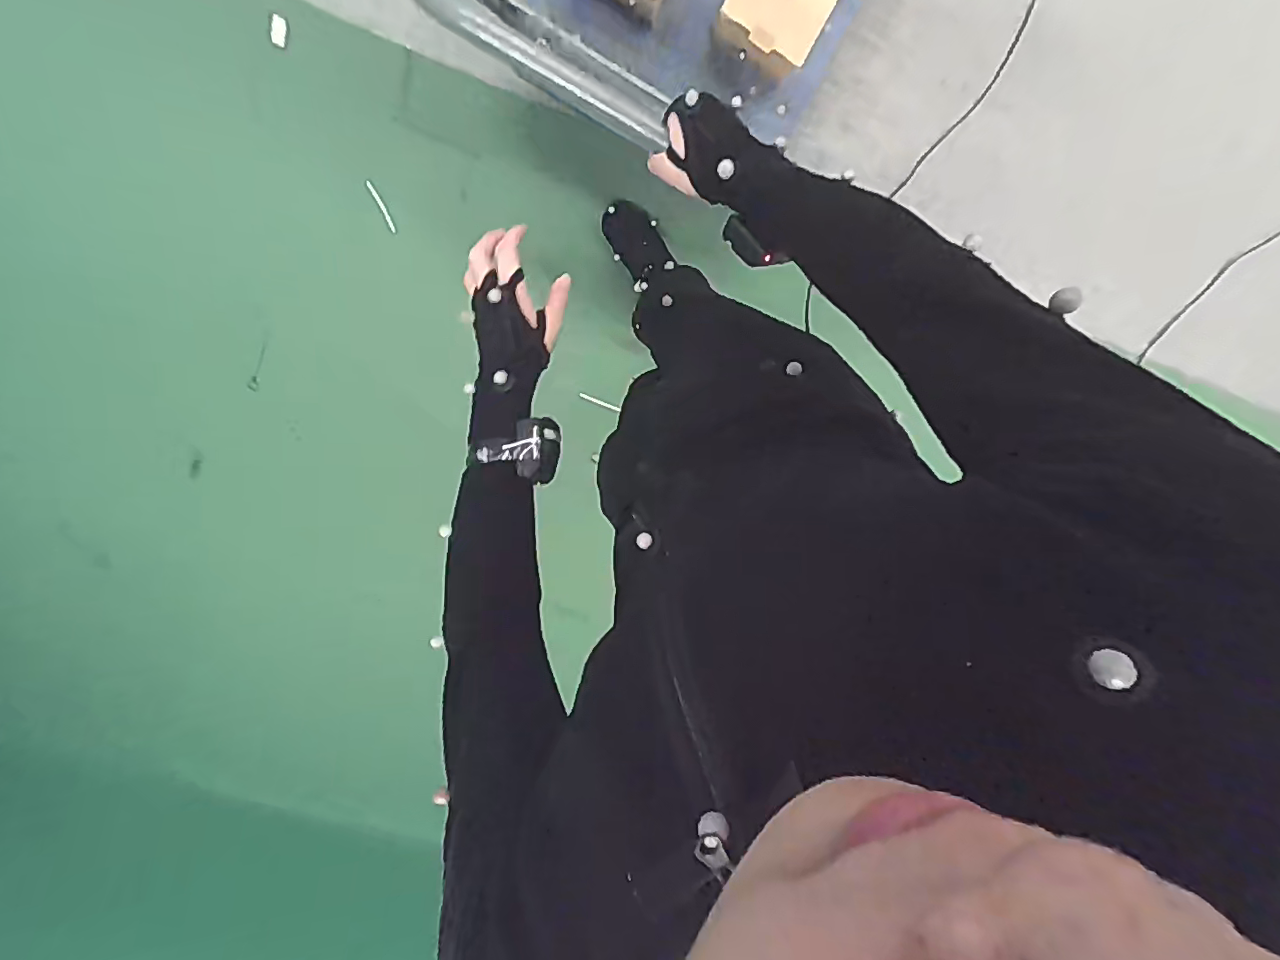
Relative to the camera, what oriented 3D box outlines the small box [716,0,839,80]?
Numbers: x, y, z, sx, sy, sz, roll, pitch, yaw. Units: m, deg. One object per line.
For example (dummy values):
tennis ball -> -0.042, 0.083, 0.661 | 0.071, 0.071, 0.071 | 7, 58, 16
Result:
small box -> 0.248, -0.851, 0.952 | 0.168, 0.176, 0.179 | 26, 117, -13
